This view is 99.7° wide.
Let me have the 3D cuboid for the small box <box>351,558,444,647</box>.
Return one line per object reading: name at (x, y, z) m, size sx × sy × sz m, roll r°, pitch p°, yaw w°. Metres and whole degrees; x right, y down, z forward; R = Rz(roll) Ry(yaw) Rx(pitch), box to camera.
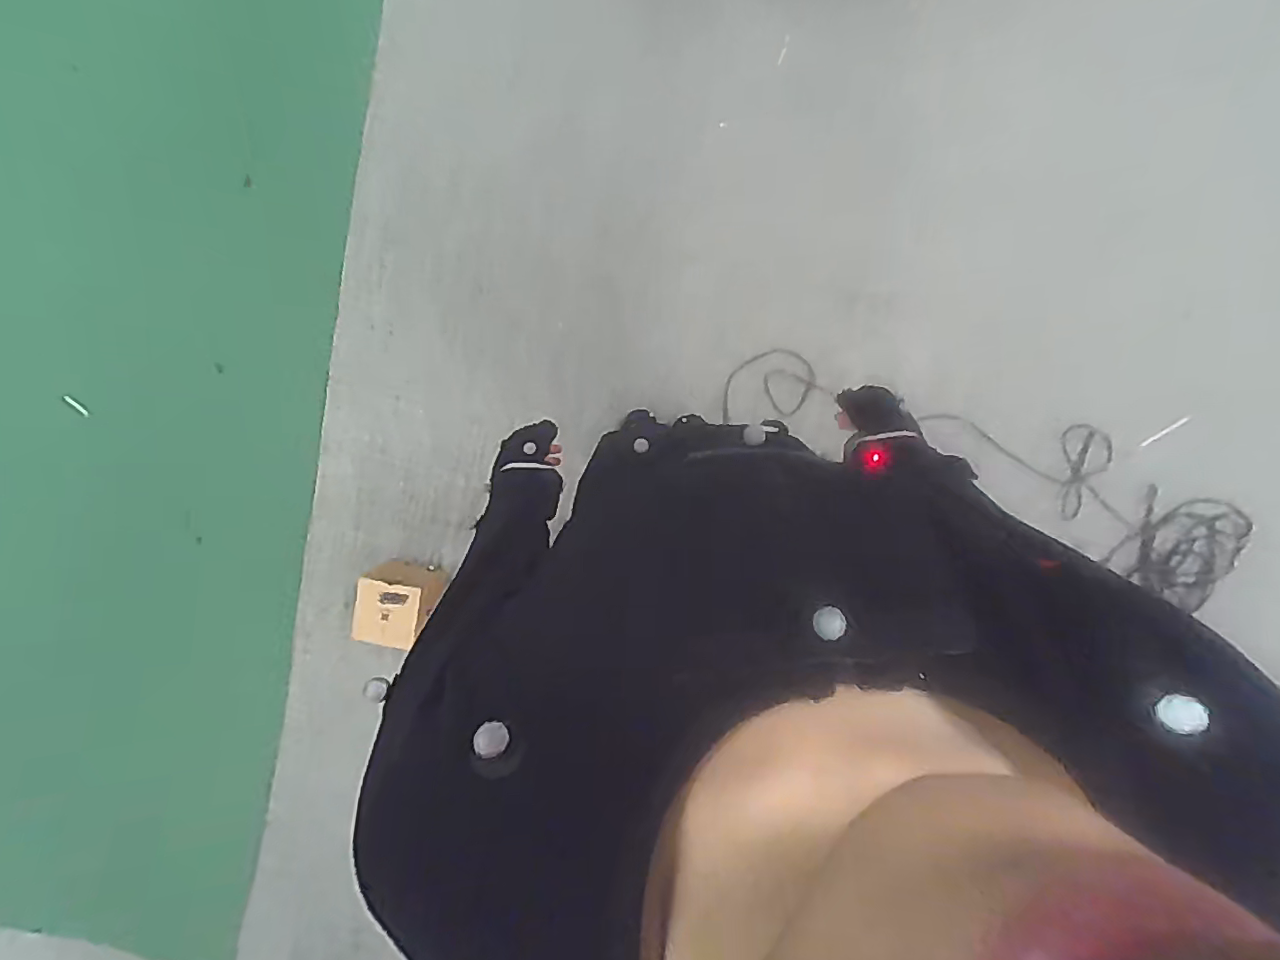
small box at (-0.652, 0.325, 1.473) m, size 0.168 × 0.176 × 0.179 m, roll 12°, pitch 98°, yaw 1°
